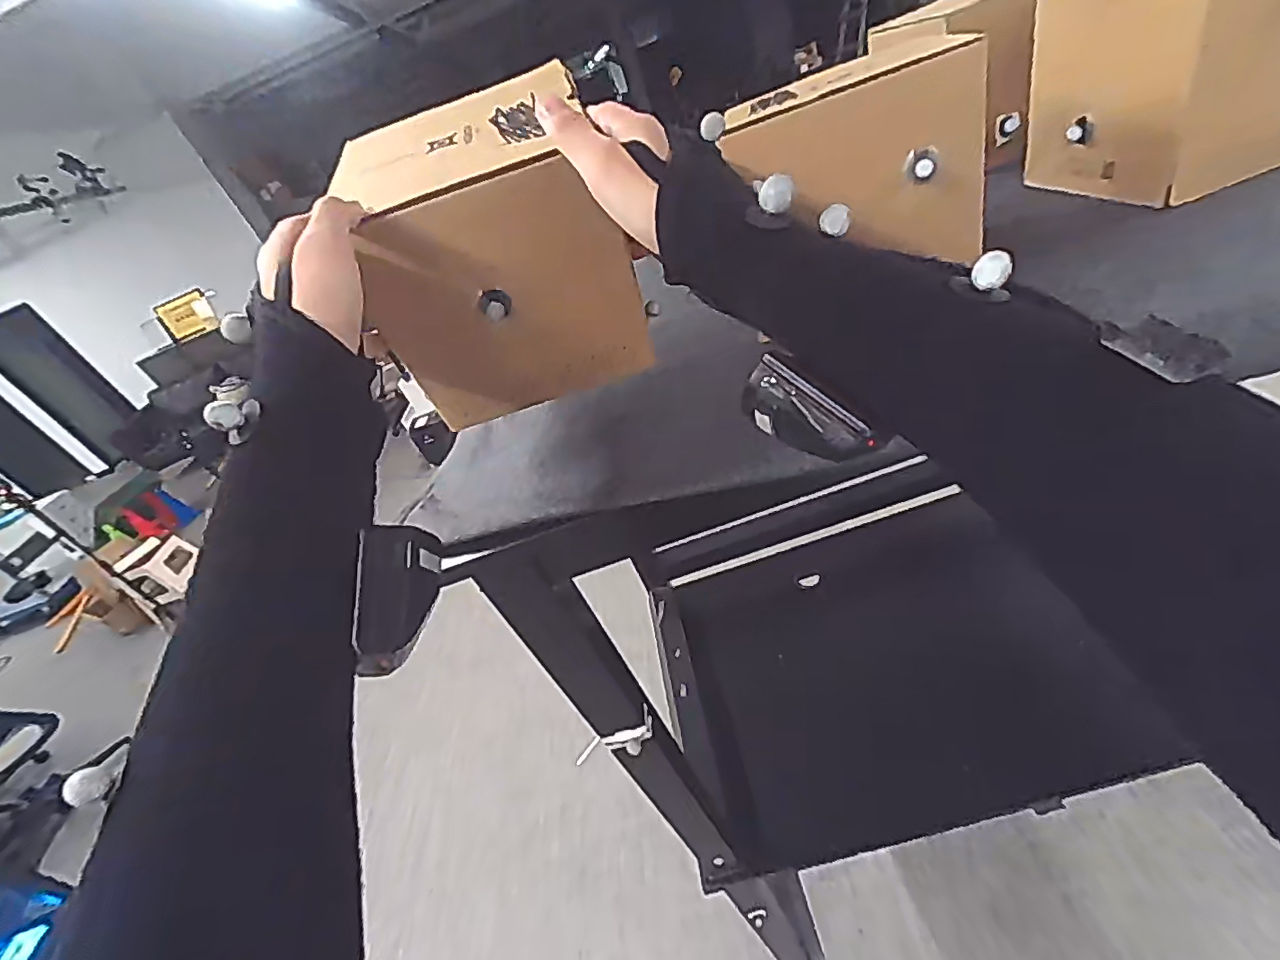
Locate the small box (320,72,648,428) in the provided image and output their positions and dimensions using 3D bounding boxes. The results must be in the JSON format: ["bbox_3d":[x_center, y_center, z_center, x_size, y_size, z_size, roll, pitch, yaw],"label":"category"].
[{"bbox_3d":[-0.100,-0.170,0.418,0.179,0.176,0.168,-18,50,3],"label":"small box"}]

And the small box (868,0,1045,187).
[{"bbox_3d":[0.397,-0.475,0.651,0.168,0.176,0.179,-21,35,6],"label":"small box"}]
